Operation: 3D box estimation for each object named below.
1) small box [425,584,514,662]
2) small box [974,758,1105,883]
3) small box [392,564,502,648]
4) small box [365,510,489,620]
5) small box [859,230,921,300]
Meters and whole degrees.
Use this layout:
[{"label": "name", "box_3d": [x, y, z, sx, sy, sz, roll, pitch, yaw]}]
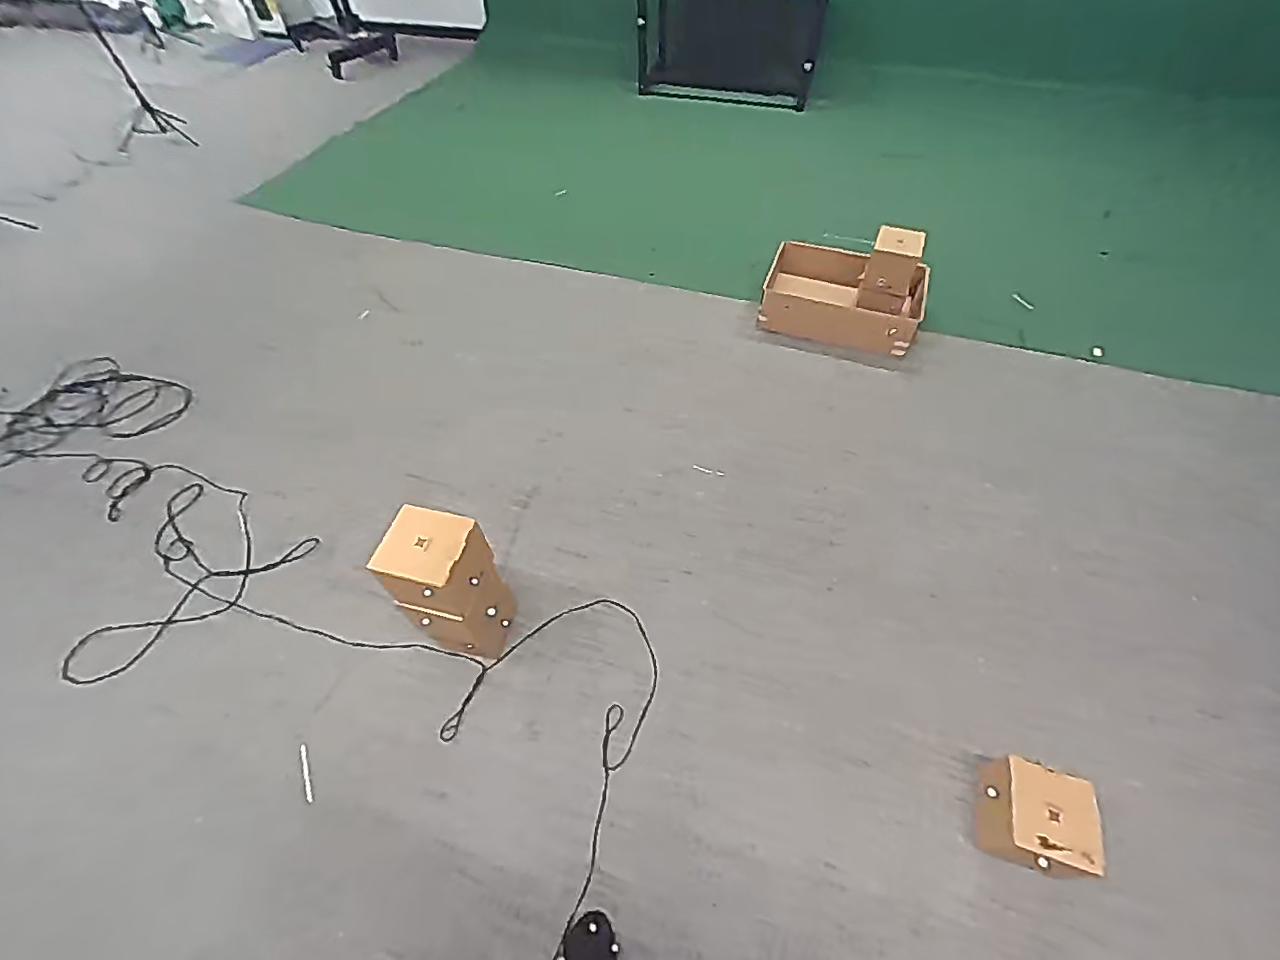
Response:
[{"label": "small box", "box_3d": [-0.458, 0.379, 1.468, 0.179, 0.176, 0.168, 8, 53, 8]}, {"label": "small box", "box_3d": [0.843, 0.733, 1.163, 0.168, 0.176, 0.179, 15, 54, 13]}, {"label": "small box", "box_3d": [-0.463, 0.294, 1.327, 0.179, 0.176, 0.168, 11, 54, 9]}, {"label": "small box", "box_3d": [-0.460, 0.192, 1.200, 0.179, 0.176, 0.168, 11, 54, 8]}, {"label": "small box", "box_3d": [0.958, -0.827, 2.078, 0.168, 0.176, 0.179, 17, 57, 15]}]
